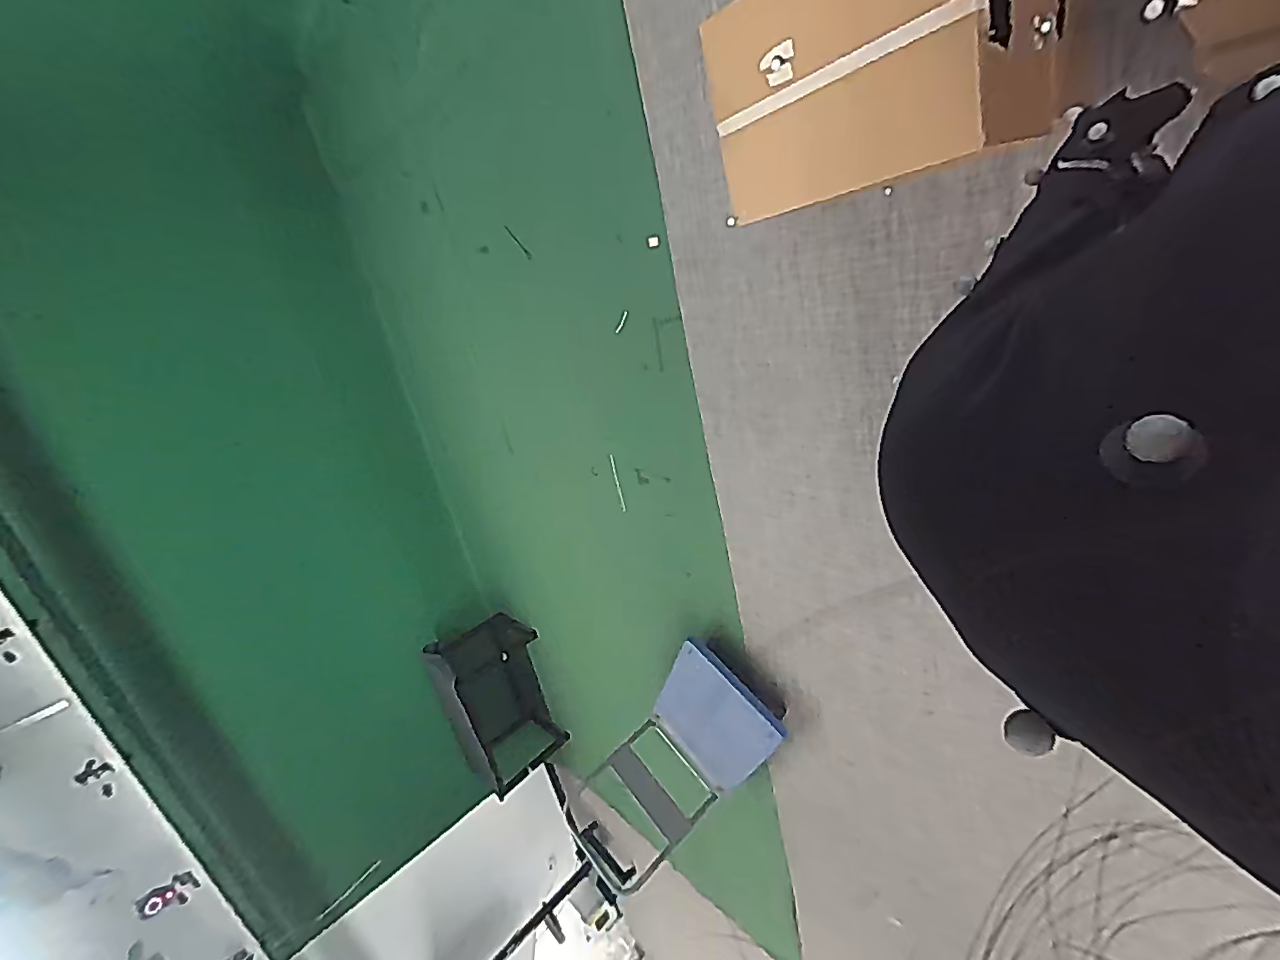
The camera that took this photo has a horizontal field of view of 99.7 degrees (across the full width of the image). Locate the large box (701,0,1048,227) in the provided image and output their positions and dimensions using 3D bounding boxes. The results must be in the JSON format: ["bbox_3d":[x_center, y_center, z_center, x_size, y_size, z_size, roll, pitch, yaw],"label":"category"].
[{"bbox_3d":[0.374,-0.647,0.873,0.408,0.320,0.320,9,122,49],"label":"large box"}]
